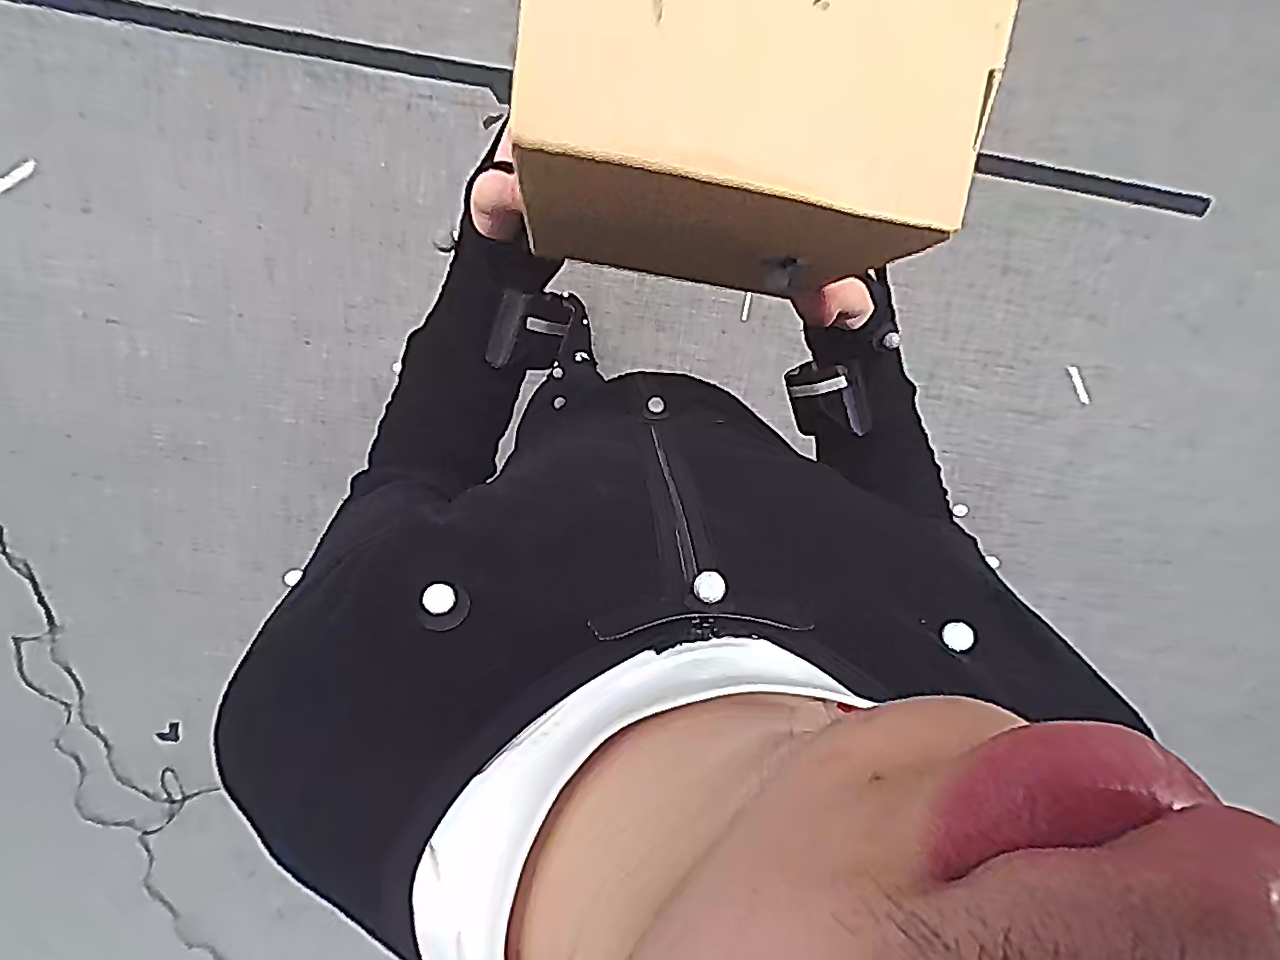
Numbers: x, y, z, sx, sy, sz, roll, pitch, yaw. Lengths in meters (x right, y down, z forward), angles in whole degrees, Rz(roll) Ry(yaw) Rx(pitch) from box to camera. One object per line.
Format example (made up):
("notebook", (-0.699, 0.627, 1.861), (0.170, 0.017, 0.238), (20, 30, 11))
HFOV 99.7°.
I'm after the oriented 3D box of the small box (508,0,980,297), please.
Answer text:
("small box", (0.036, -0.198, 0.276), (0.179, 0.176, 0.168), (6, 98, -9))
